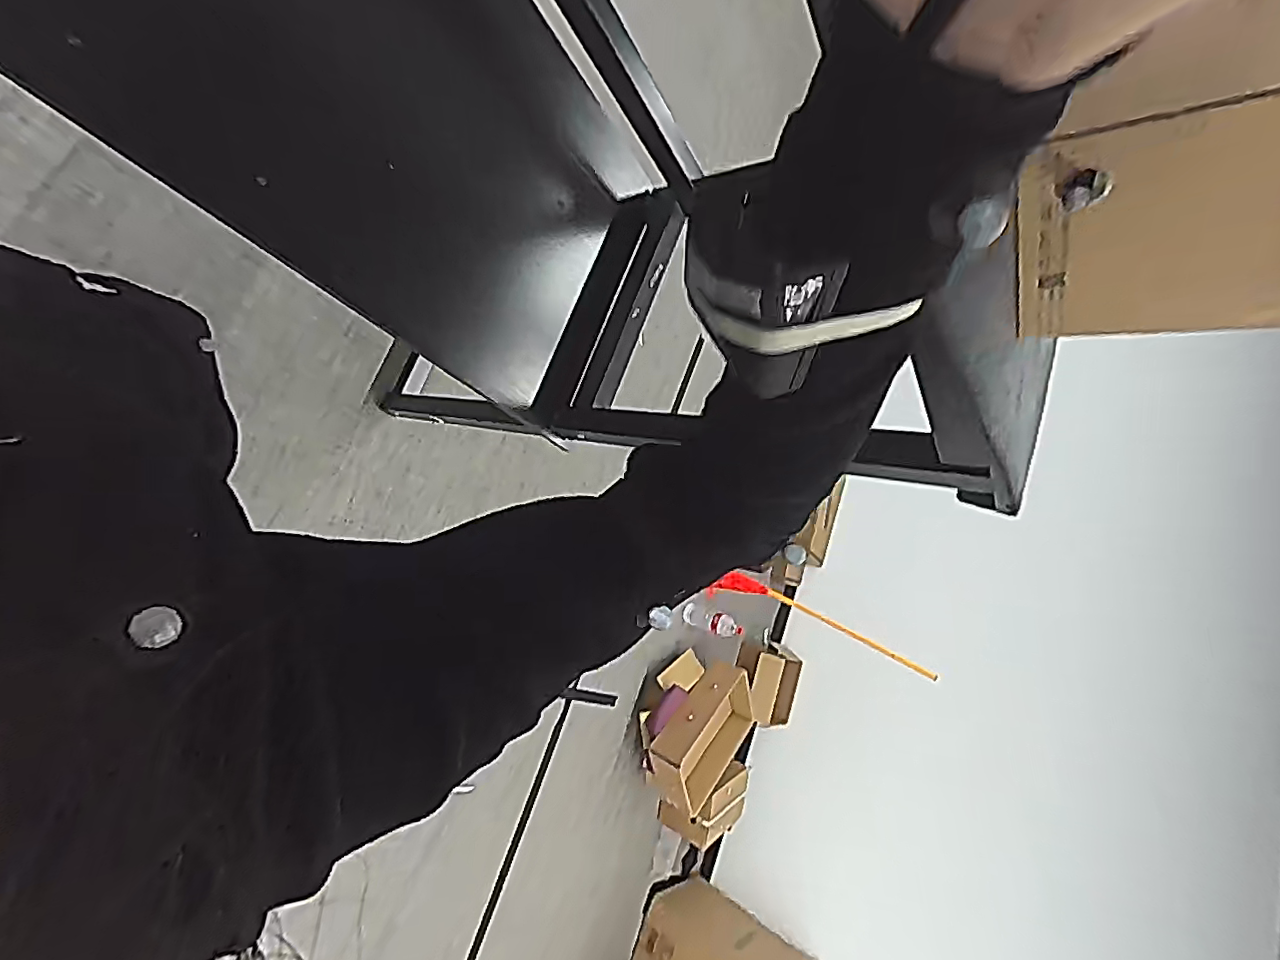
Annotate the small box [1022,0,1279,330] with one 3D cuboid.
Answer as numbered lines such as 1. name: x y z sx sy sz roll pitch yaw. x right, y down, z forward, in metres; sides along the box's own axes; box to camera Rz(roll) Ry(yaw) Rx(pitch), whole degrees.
1. small box: 0.351 -0.213 0.338 0.168 0.176 0.179 42 63 -47
